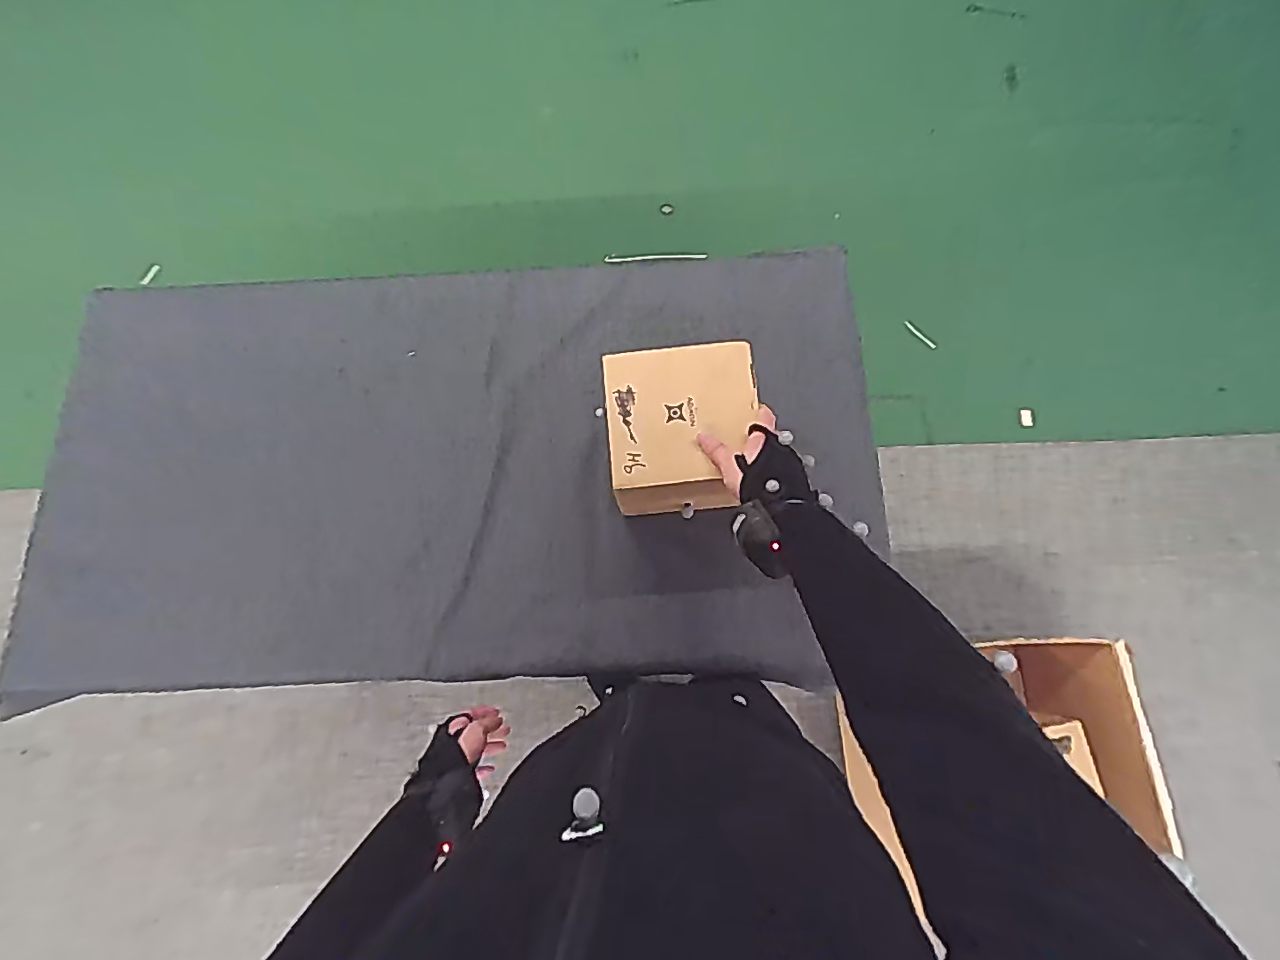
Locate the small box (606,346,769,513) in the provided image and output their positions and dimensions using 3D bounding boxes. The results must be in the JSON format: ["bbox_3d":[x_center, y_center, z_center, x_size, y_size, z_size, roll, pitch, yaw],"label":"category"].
[{"bbox_3d":[0.056,-0.057,0.712,0.179,0.176,0.168,-8,77,1],"label":"small box"}]
